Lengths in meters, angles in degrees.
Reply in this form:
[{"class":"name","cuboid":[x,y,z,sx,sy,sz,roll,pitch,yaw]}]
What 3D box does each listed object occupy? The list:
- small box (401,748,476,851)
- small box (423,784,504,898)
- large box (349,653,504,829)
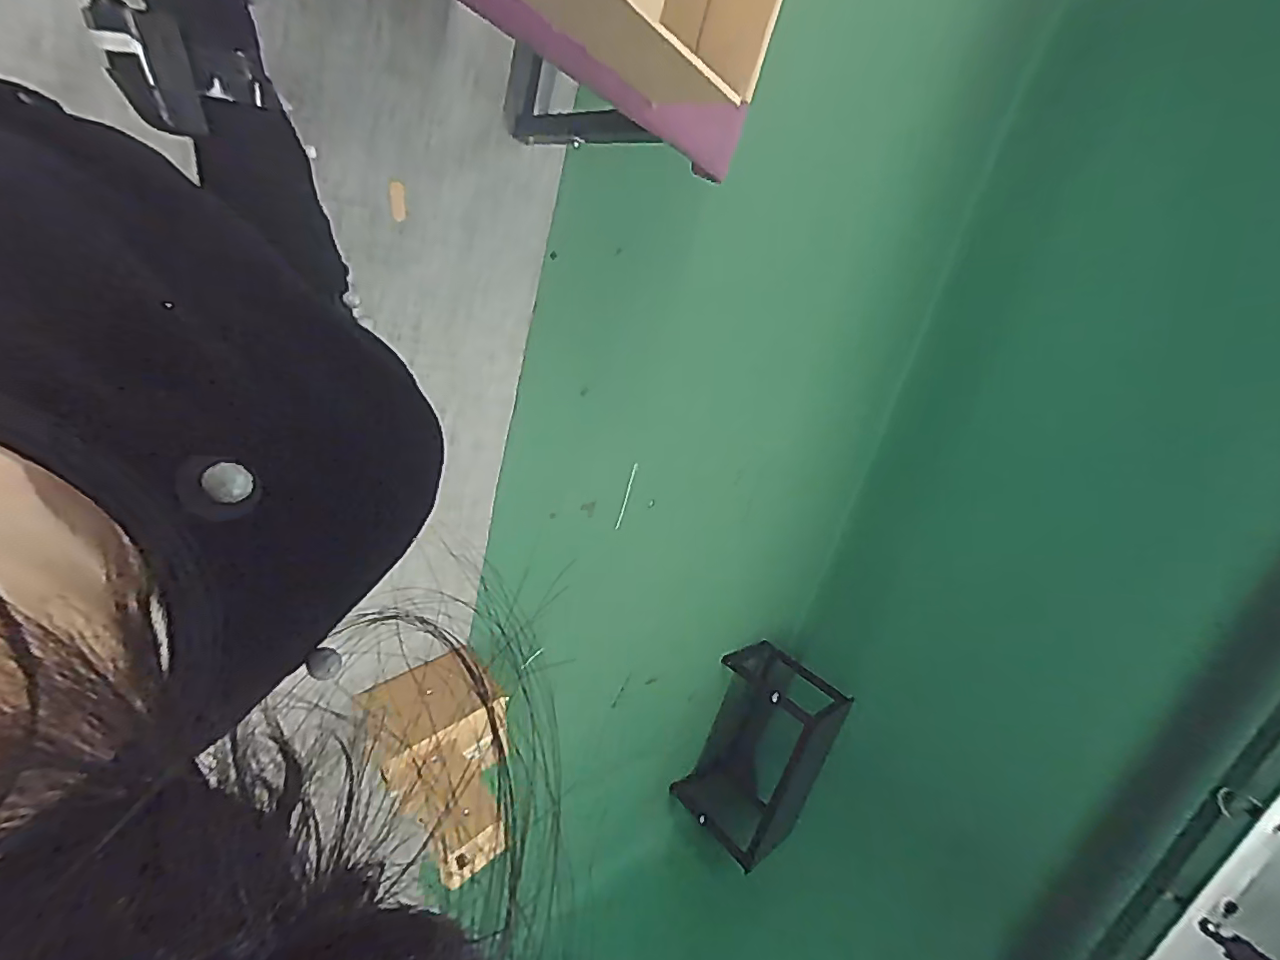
[{"class":"small box","cuboid":[-0.630,0.984,1.680,0.179,0.176,0.168,-14,121,-42]},{"class":"small box","cuboid":[-0.518,1.044,1.576,0.179,0.176,0.168,-20,125,-41]},{"class":"large box","cuboid":[-0.737,0.889,1.898,0.408,0.320,0.320,-20,126,-41]}]
